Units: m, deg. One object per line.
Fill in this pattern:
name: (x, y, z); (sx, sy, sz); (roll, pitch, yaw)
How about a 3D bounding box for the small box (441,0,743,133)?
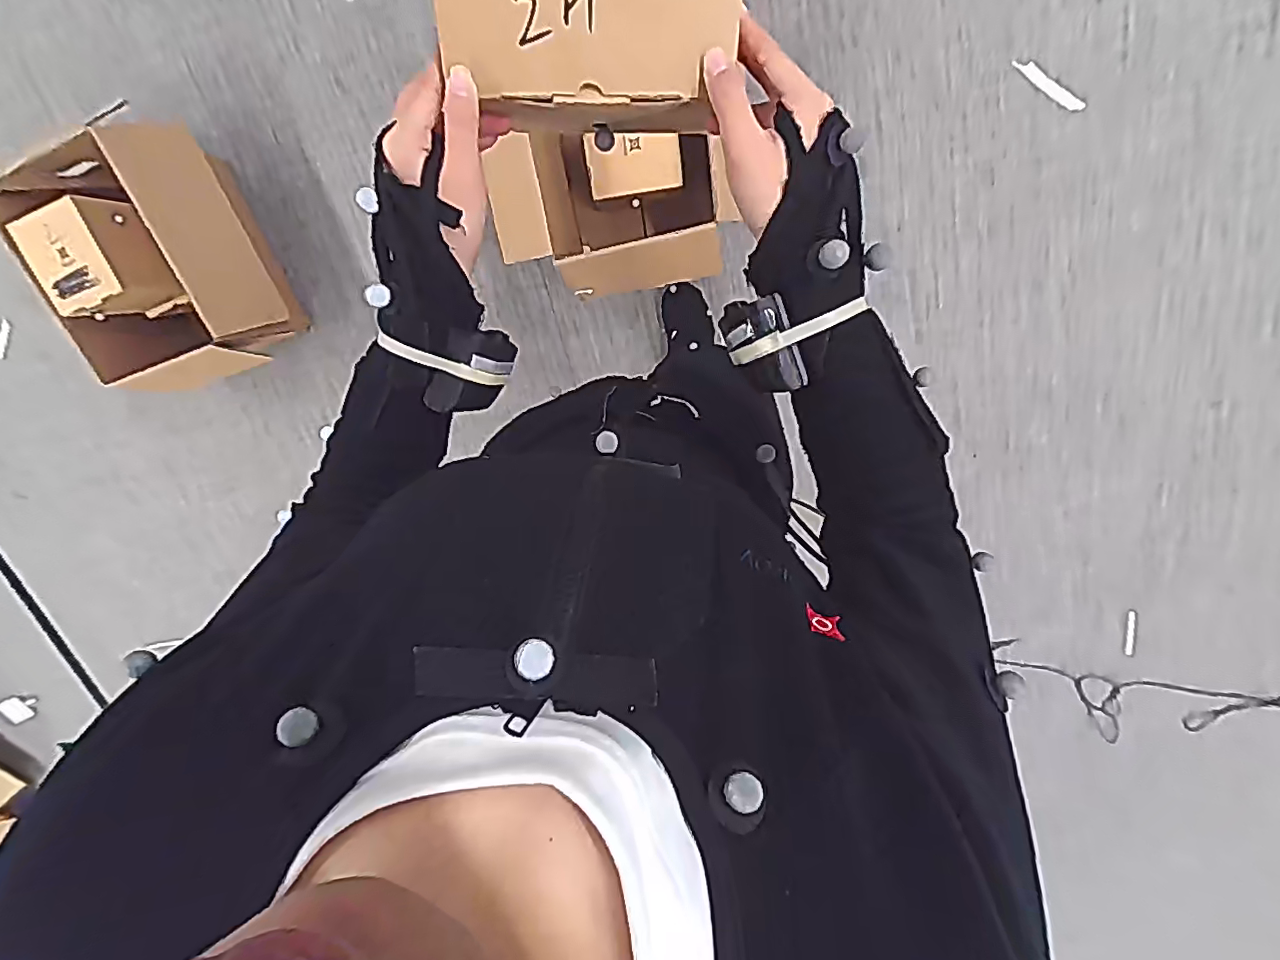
small box: (-0.025, -0.335, 0.343); (0.168, 0.176, 0.179); (1, 117, 1)
